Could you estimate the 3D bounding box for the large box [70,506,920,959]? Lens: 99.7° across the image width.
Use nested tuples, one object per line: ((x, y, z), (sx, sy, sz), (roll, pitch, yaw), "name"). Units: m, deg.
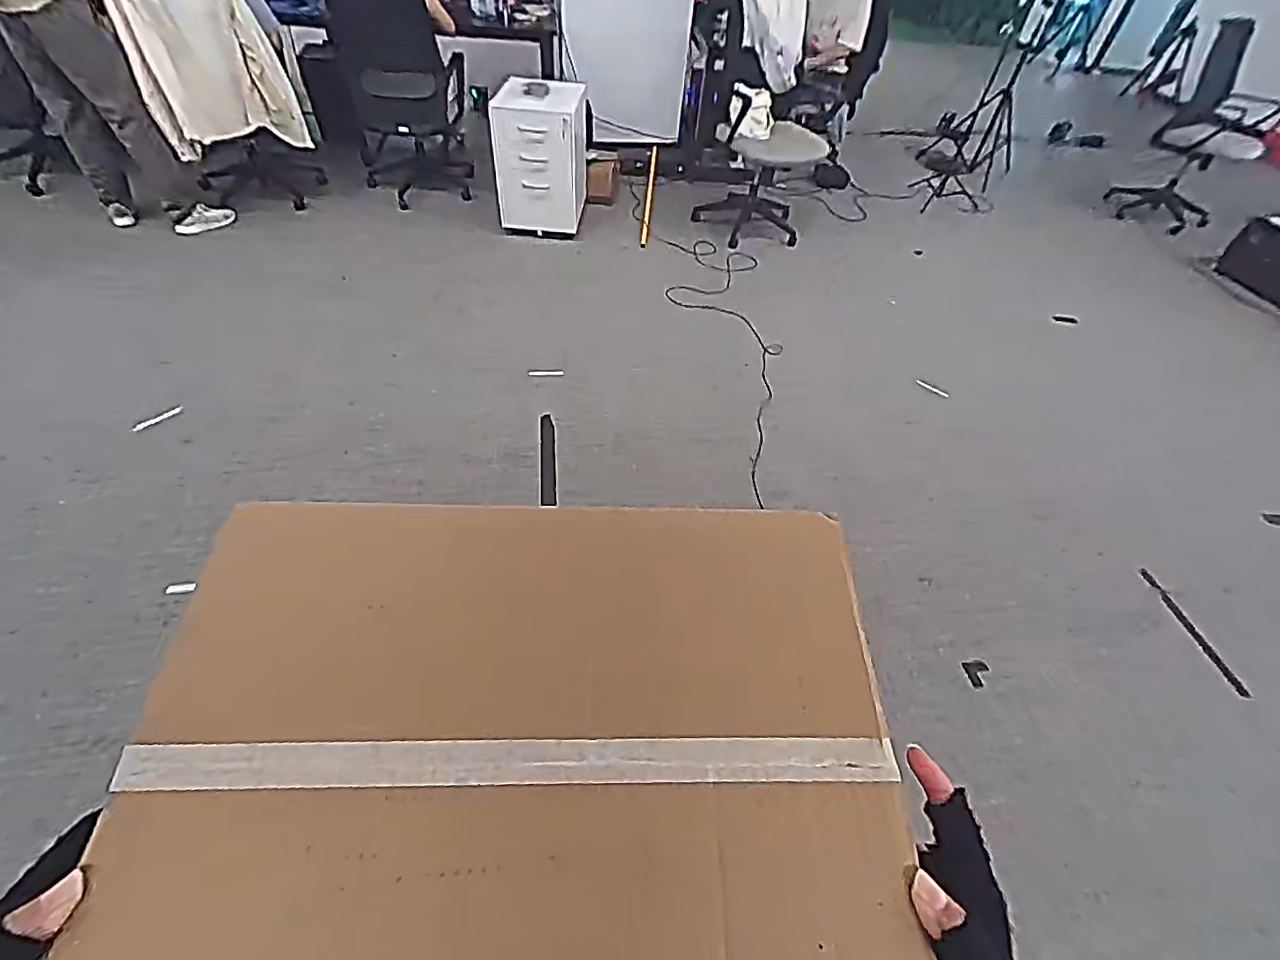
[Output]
((-0.072, 0.229, 0.428), (0.408, 0.320, 0.320), (1, 59, -3), "large box")
